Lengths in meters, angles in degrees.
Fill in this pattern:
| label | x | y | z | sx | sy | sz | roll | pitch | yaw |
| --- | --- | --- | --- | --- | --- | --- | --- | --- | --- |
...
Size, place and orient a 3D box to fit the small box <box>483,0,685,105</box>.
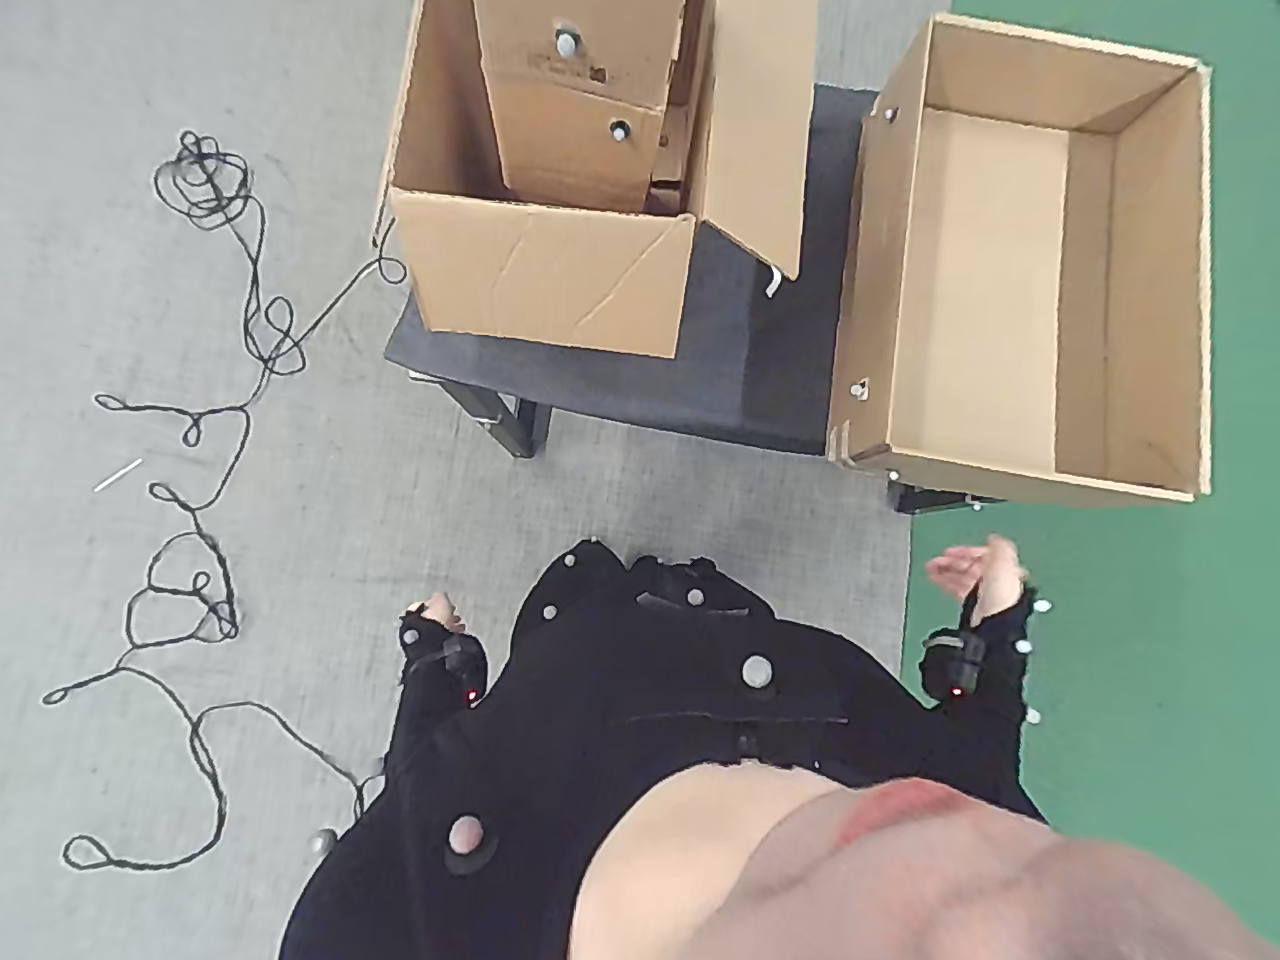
| label | x | y | z | sx | sy | sz | roll | pitch | yaw |
| --- | --- | --- | --- | --- | --- | --- | --- | --- | --- |
| small box | -0.038 | -0.459 | 0.436 | 0.168 | 0.176 | 0.179 | 7 | 81 | -7 |
